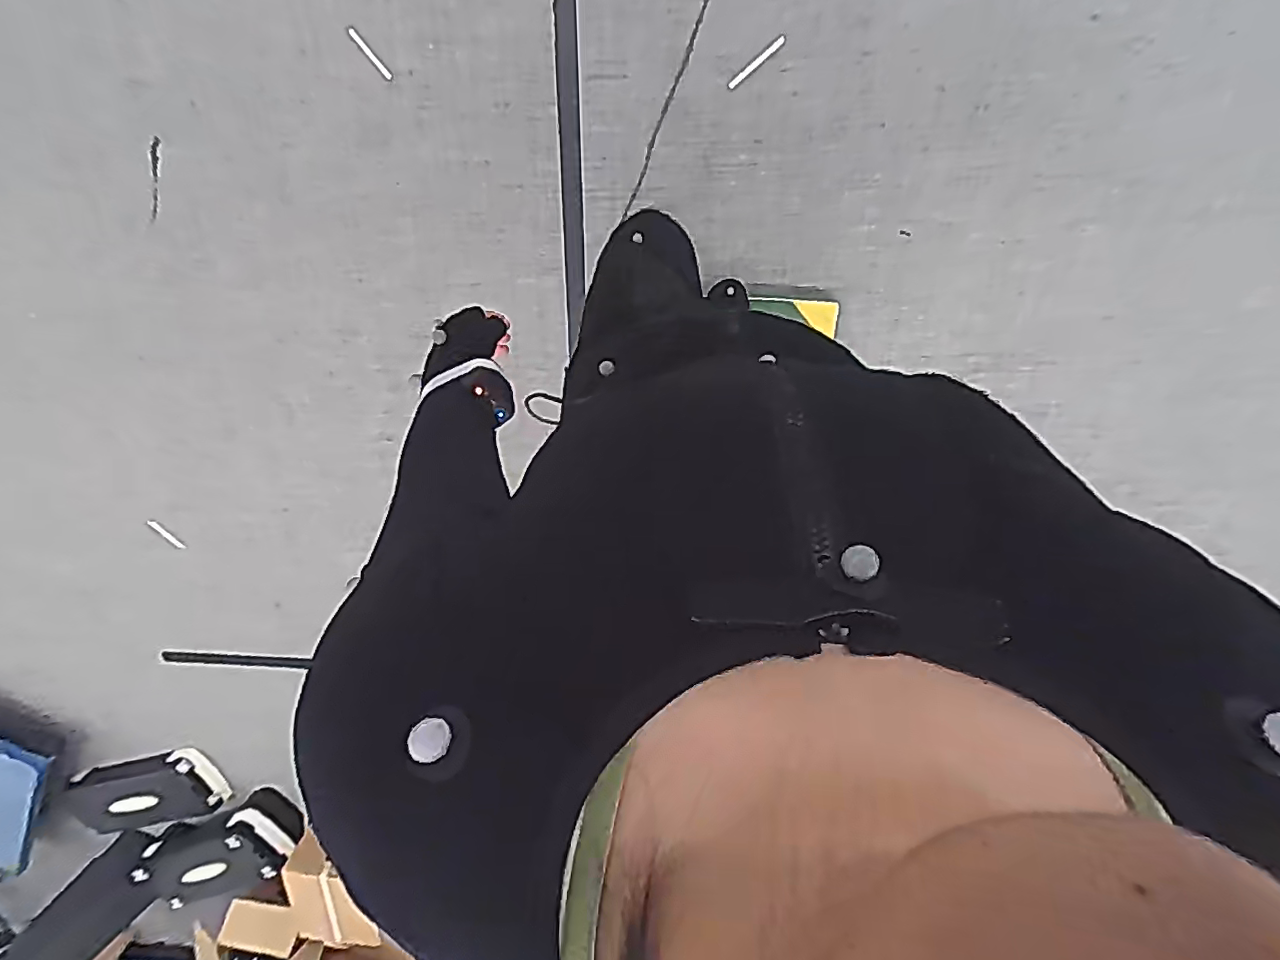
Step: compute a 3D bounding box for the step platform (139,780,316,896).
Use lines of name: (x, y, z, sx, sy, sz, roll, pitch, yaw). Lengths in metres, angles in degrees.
step platform: (-1.748, 1.521, 2.289, 0.684, 0.204, 0.286, -26, 110, 14)
